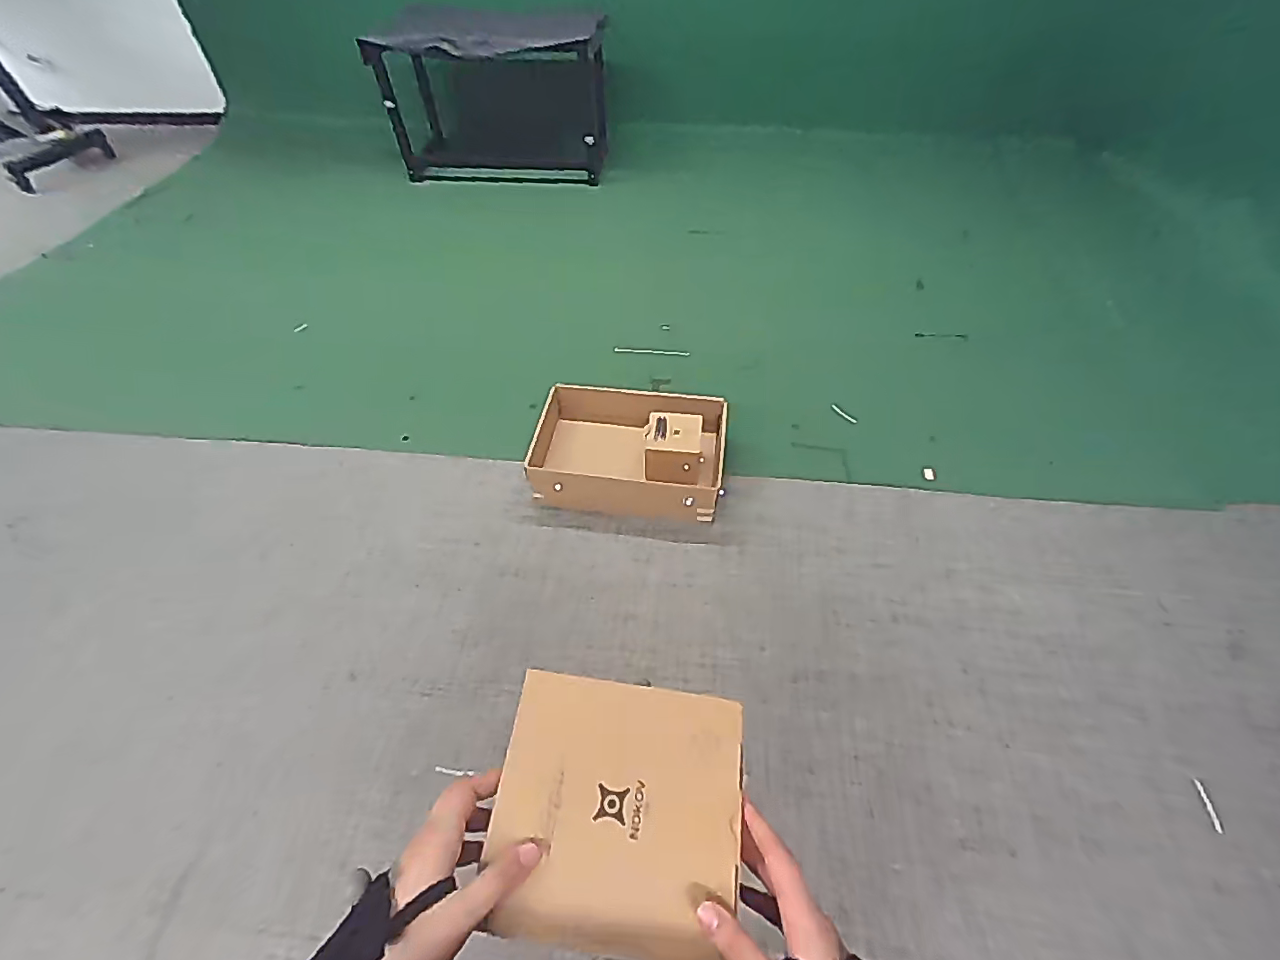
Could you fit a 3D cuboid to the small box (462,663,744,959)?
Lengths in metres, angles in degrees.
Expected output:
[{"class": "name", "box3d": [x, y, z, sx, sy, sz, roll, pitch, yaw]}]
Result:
[{"class": "small box", "box3d": [-0.015, 0.267, 0.446, 0.179, 0.176, 0.168, 5, 55, 6]}]
